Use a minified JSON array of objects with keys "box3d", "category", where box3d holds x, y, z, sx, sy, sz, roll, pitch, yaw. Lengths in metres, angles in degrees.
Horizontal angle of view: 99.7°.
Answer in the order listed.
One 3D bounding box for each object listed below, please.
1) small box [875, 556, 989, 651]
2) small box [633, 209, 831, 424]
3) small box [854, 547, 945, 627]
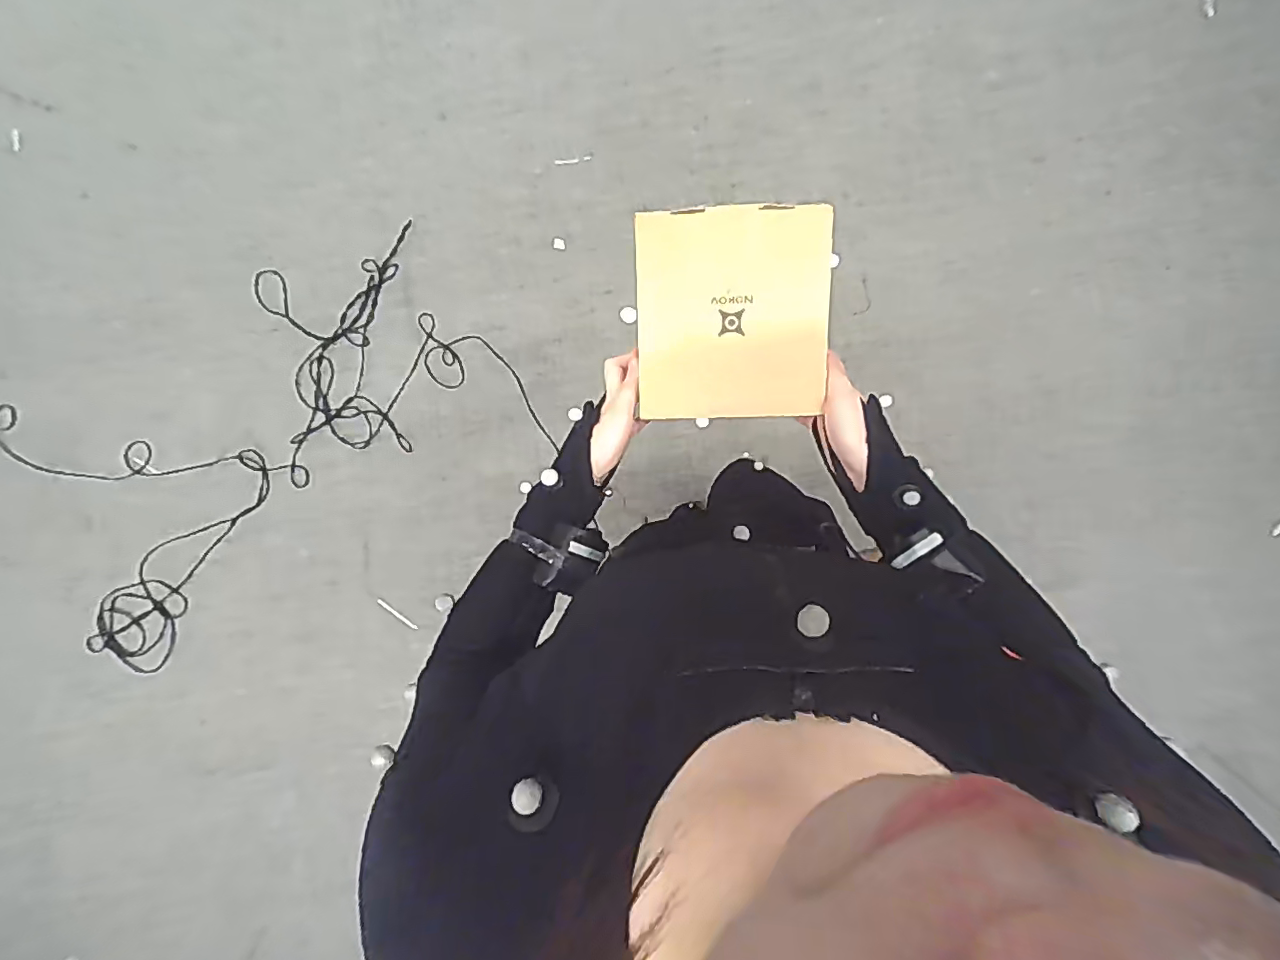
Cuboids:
[{"box3d":[0.649,0.270,1.224,0.168,0.176,0.179,-7,89,4],"category":"small box"},{"box3d":[0.083,-0.153,0.543,0.168,0.176,0.179,-1,101,4],"category":"small box"},{"box3d":[0.664,0.270,1.387,0.179,0.176,0.168,-7,89,2],"category":"small box"}]
